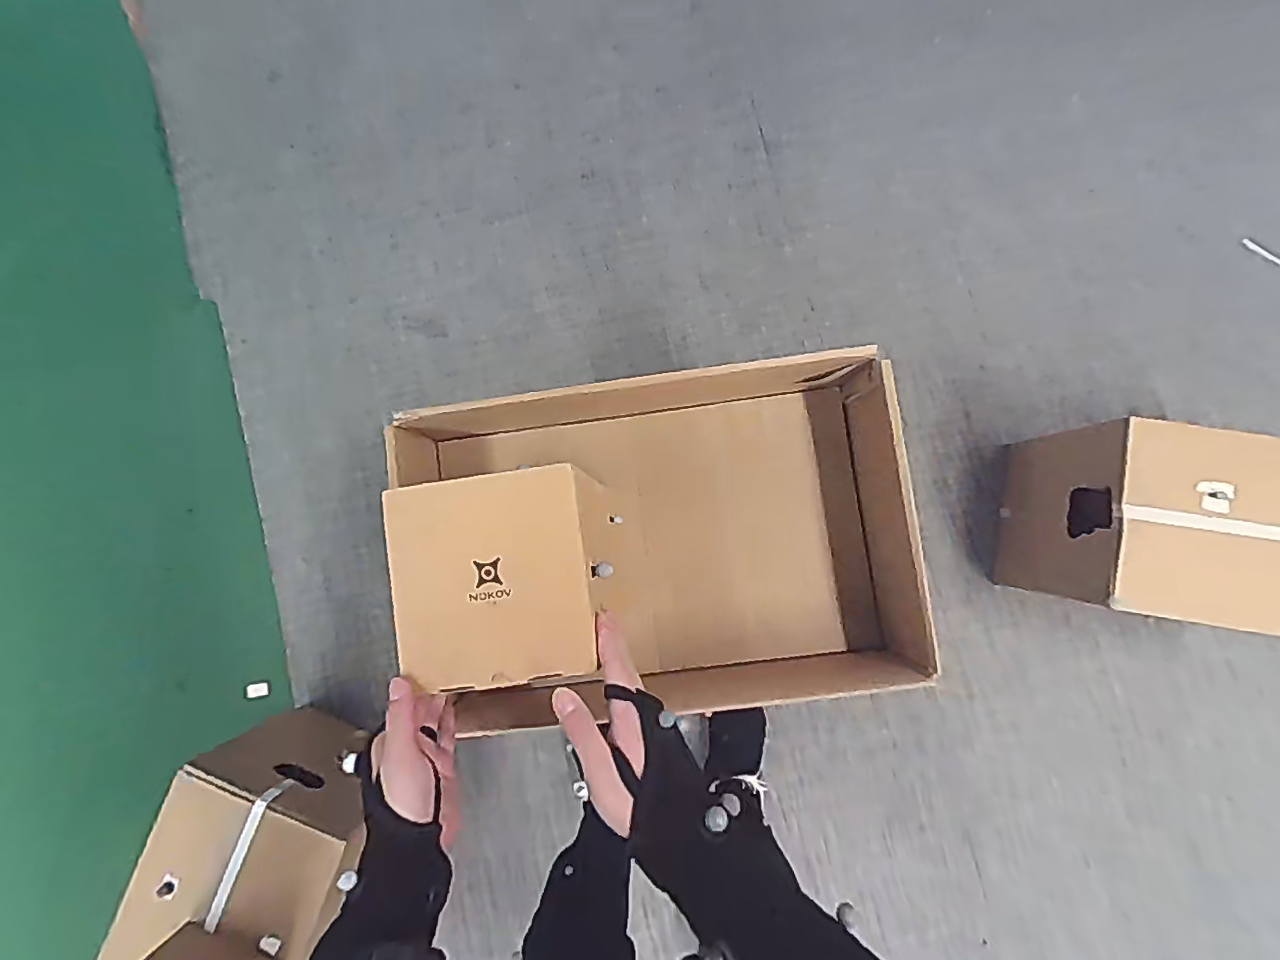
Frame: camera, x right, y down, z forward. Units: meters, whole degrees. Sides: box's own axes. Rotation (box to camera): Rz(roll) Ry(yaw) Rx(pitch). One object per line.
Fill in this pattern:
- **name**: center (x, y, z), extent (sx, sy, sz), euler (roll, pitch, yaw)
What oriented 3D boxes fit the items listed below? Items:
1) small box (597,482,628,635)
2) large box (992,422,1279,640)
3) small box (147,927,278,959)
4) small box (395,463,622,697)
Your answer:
- **small box**: center (-0.107, 0.102, 0.687), extent (0.168, 0.176, 0.179), euler (-6, 86, 2)
- **large box**: center (0.956, 0.093, 0.994), extent (0.408, 0.320, 0.320), euler (9, 86, 4)
- **small box**: center (-0.662, 0.791, 0.763), extent (0.179, 0.176, 0.168), euler (20, 87, 3)
- **small box**: center (-0.113, 0.088, 0.526), extent (0.168, 0.176, 0.179), euler (-8, 86, 1)
